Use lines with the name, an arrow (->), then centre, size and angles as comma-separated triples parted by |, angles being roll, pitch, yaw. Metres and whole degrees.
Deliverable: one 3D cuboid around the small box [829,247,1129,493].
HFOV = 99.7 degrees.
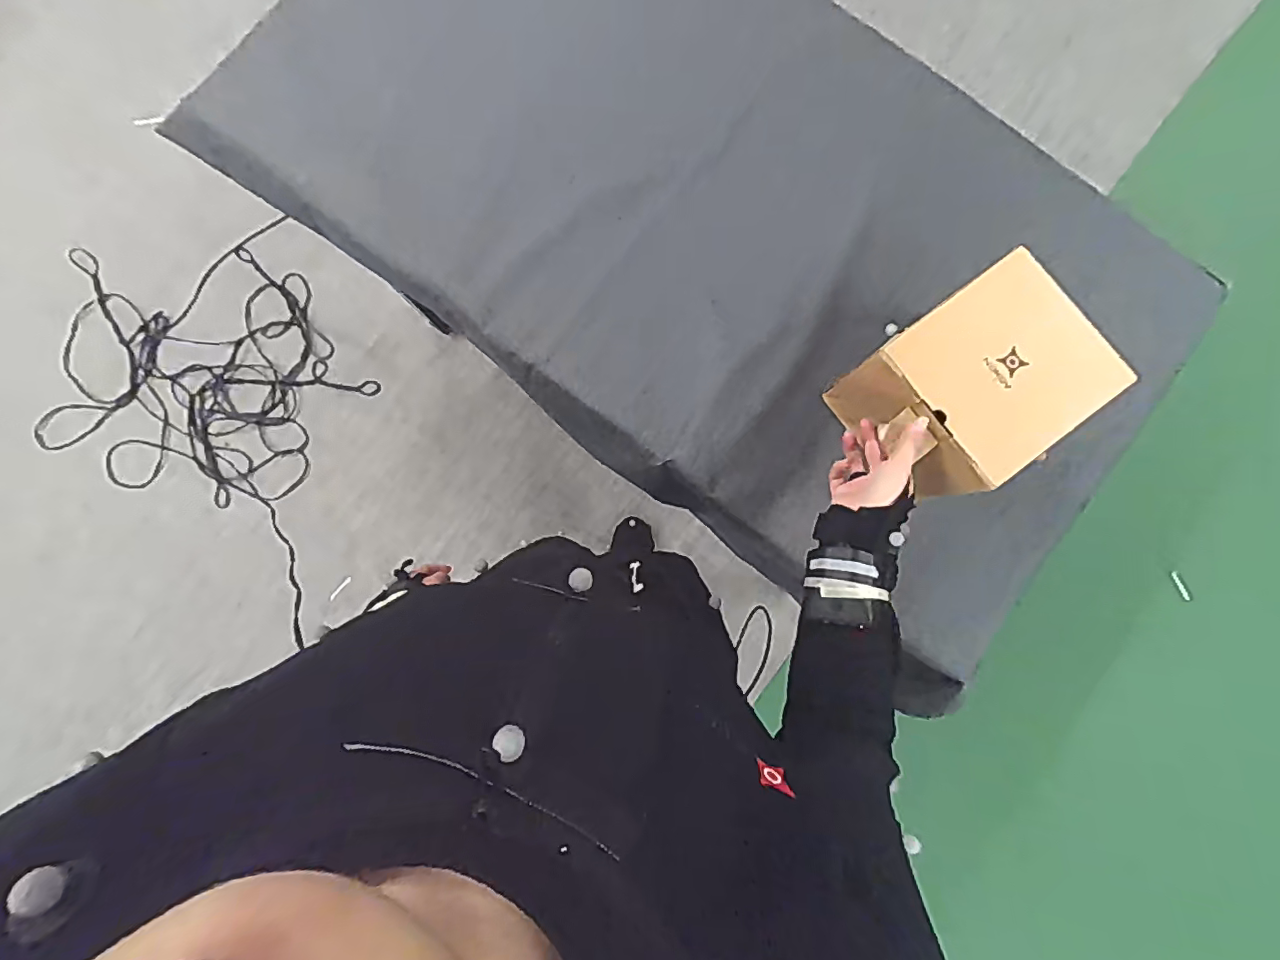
small box -> 0.341, -0.102, 0.583 | 0.179, 0.176, 0.168 | -37, 86, -3
